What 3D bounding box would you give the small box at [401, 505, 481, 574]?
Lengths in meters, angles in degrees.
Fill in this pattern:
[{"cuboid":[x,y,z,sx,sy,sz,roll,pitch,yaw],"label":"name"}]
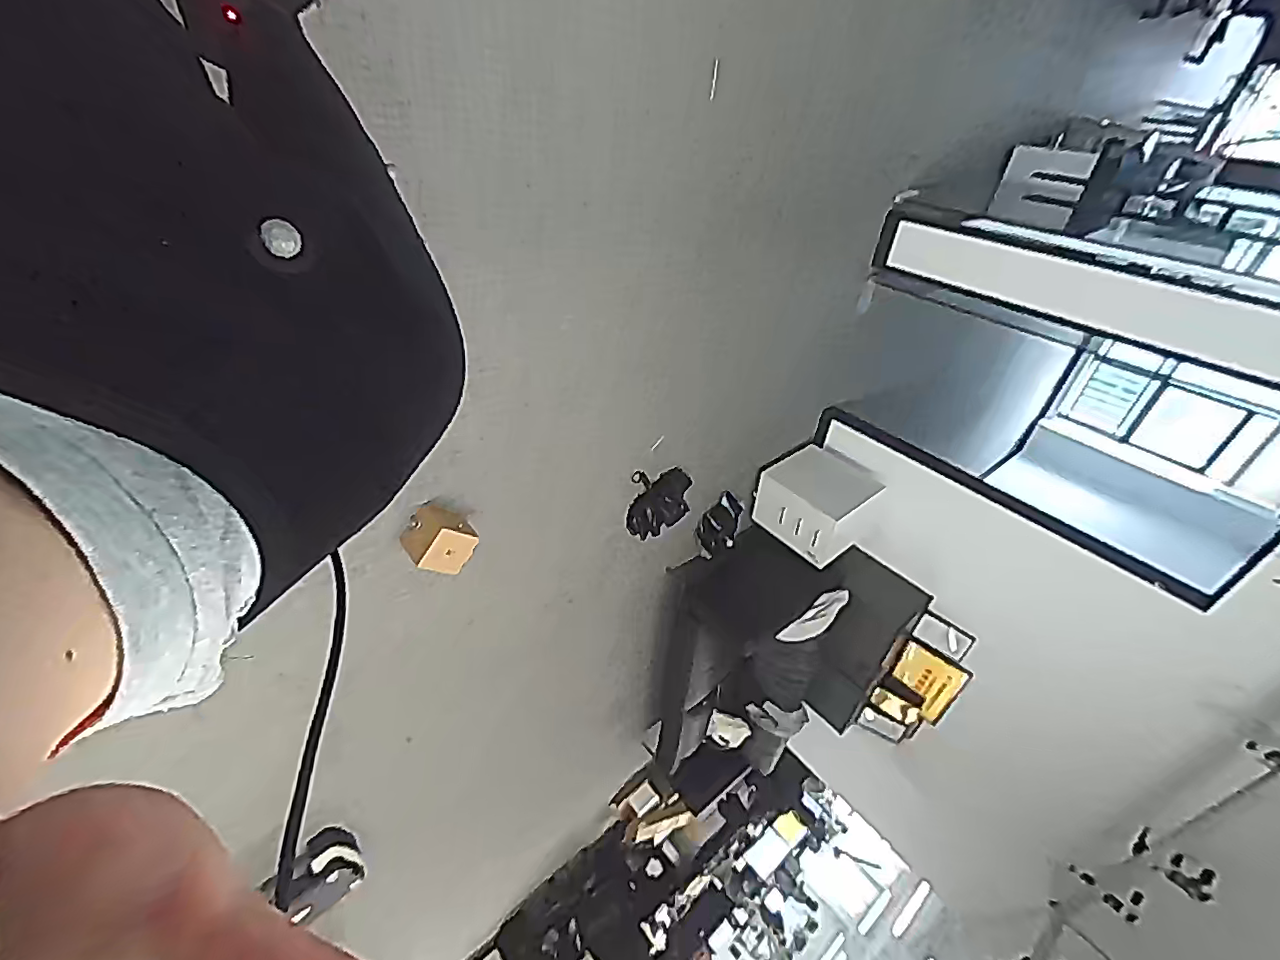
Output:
[{"cuboid":[-0.713,0.210,1.929,0.168,0.176,0.179,-56,143,4],"label":"small box"}]
